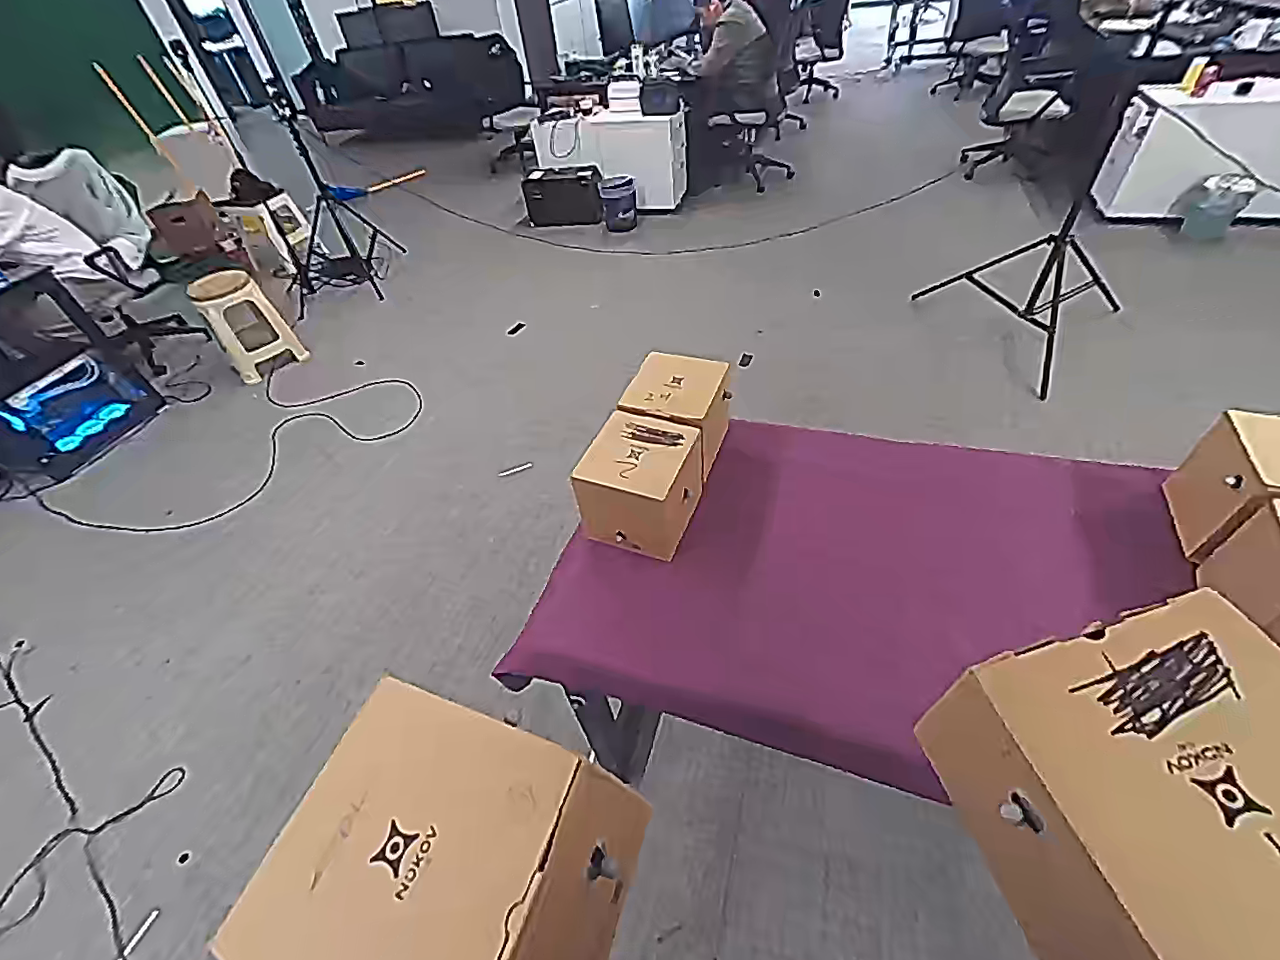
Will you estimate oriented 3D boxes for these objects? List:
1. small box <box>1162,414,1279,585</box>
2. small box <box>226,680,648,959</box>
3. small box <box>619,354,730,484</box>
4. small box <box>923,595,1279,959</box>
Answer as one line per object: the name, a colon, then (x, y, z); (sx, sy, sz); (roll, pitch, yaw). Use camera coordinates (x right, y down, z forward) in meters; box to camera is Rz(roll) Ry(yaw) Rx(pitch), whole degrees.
small box: (0.941, 0.032, 0.810); (0.168, 0.176, 0.179); (13, 48, 19)
small box: (-0.113, 0.268, 0.375); (0.179, 0.176, 0.168); (7, 53, 26)
small box: (0.073, -0.122, 1.069); (0.168, 0.176, 0.179); (13, 50, 19)
small box: (0.319, 0.207, 0.352); (0.168, 0.176, 0.179); (-18, 52, -1)
